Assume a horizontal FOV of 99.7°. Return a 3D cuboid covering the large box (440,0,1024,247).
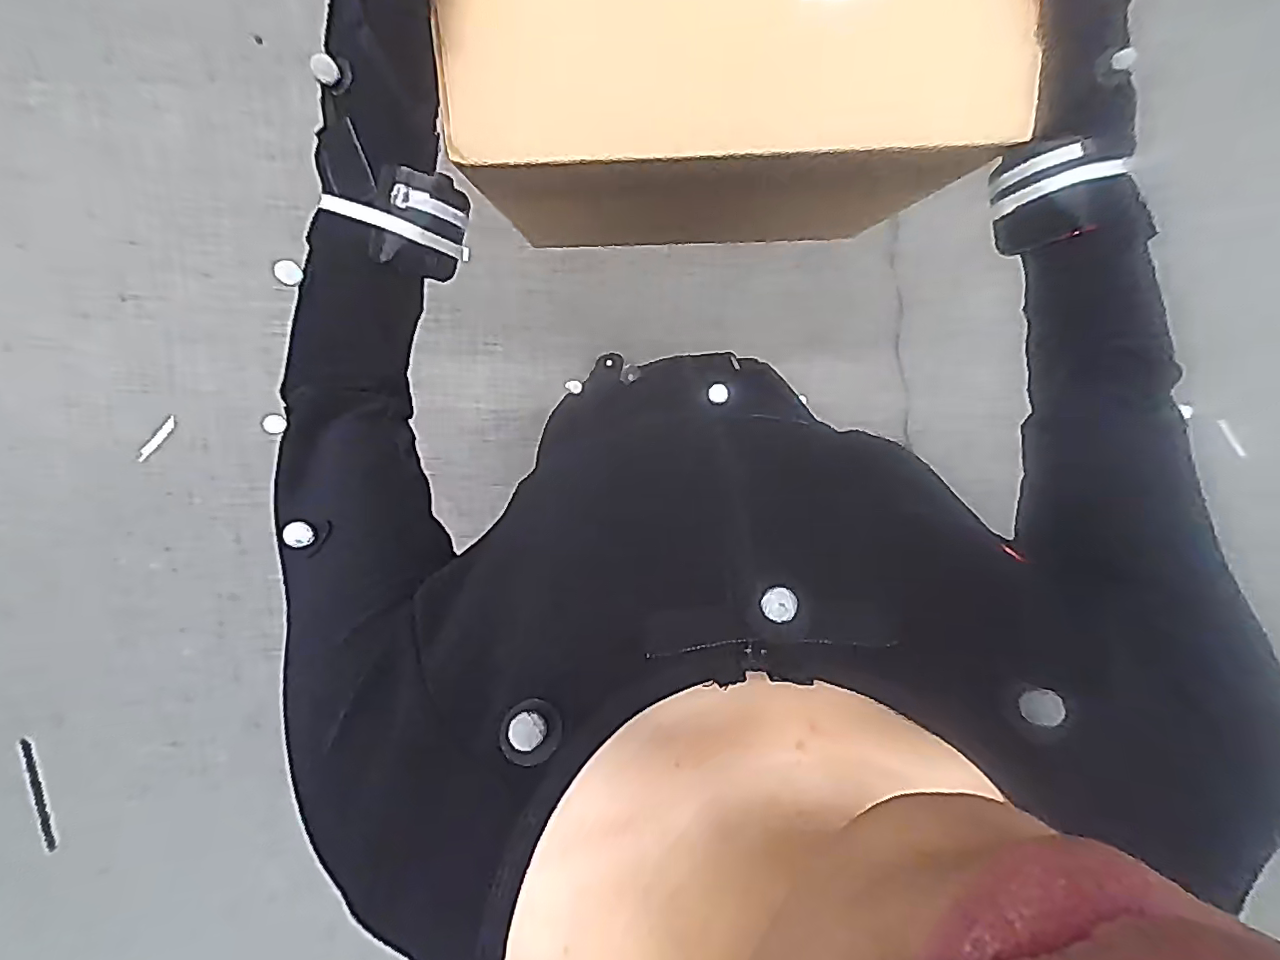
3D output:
[{"bbox_3d":[0.057,-0.418,0.497,0.408,0.320,0.320,-2,103,0],"label":"large box"}]
